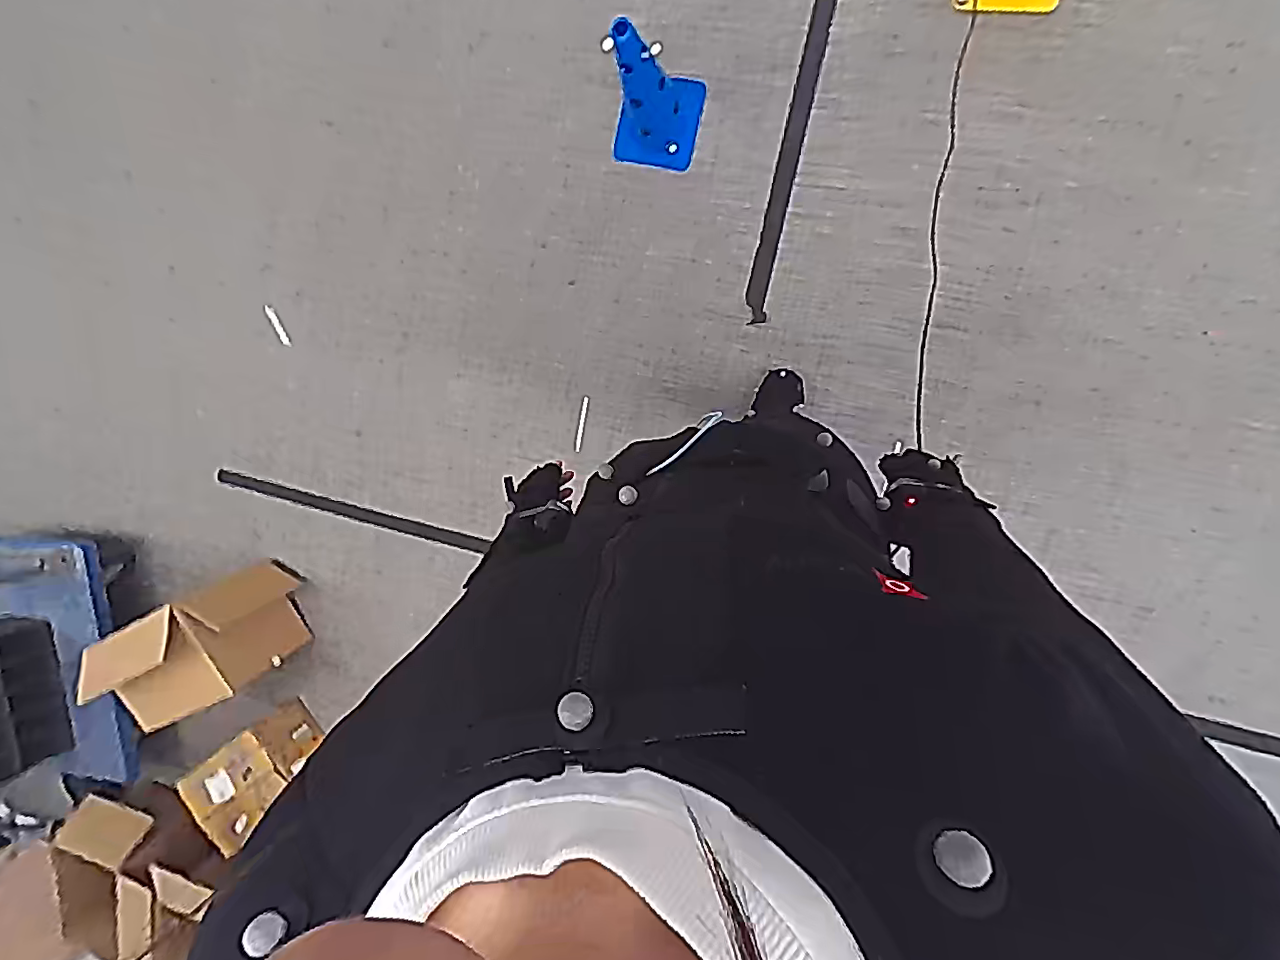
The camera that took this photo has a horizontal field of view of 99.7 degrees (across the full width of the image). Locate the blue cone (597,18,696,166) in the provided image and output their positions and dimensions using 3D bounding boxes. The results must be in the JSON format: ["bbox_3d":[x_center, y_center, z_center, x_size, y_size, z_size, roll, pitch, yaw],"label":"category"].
[{"bbox_3d":[-0.006,-0.843,1.150,0.192,0.380,0.193,18,103,11],"label":"blue cone"}]
